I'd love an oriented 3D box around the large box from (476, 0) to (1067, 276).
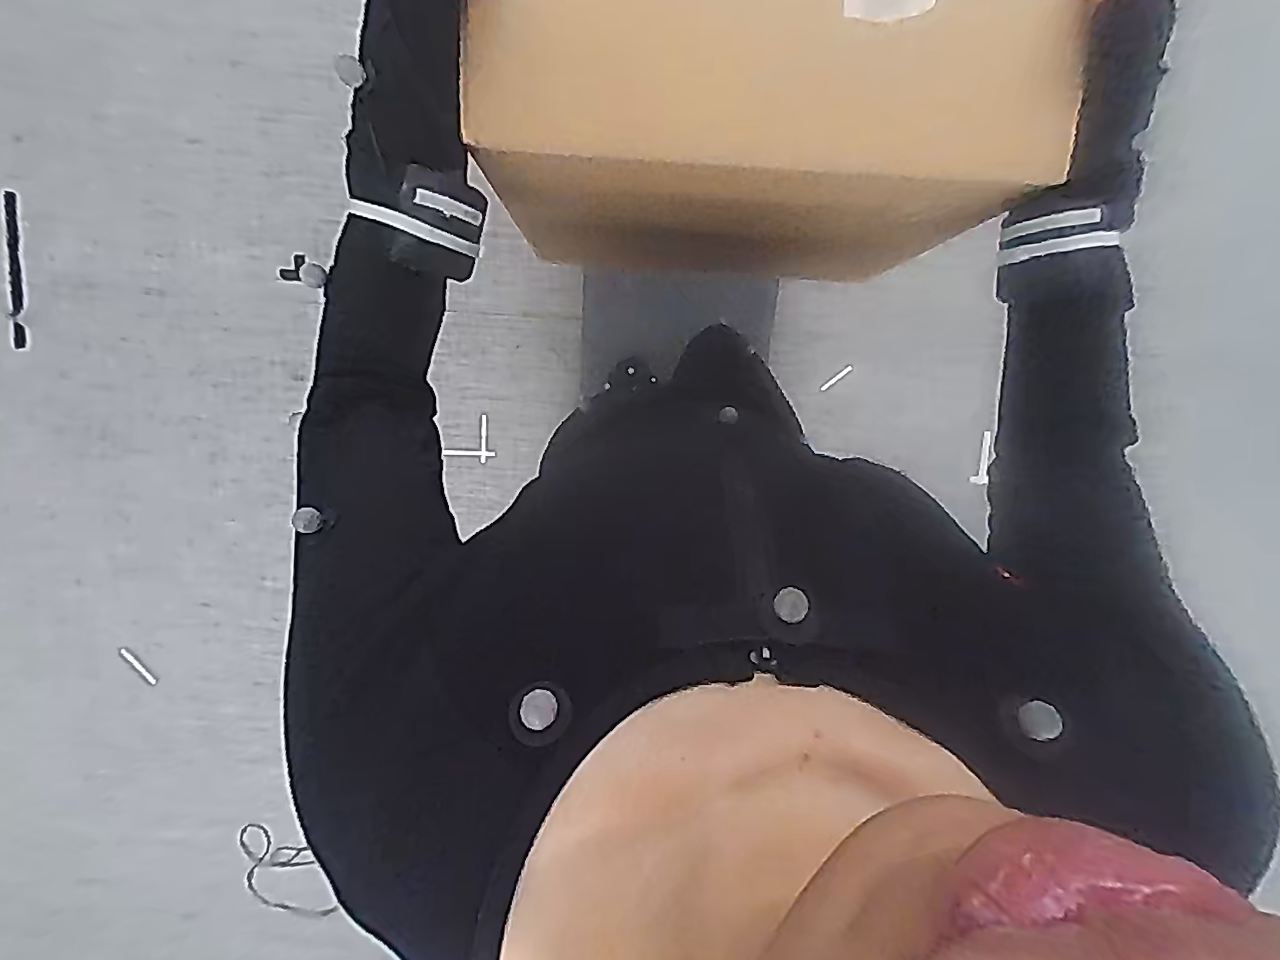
[{"bbox_3d":[0.086,-0.390,0.502,0.408,0.320,0.320,3,98,-2],"label":"large box"}]
